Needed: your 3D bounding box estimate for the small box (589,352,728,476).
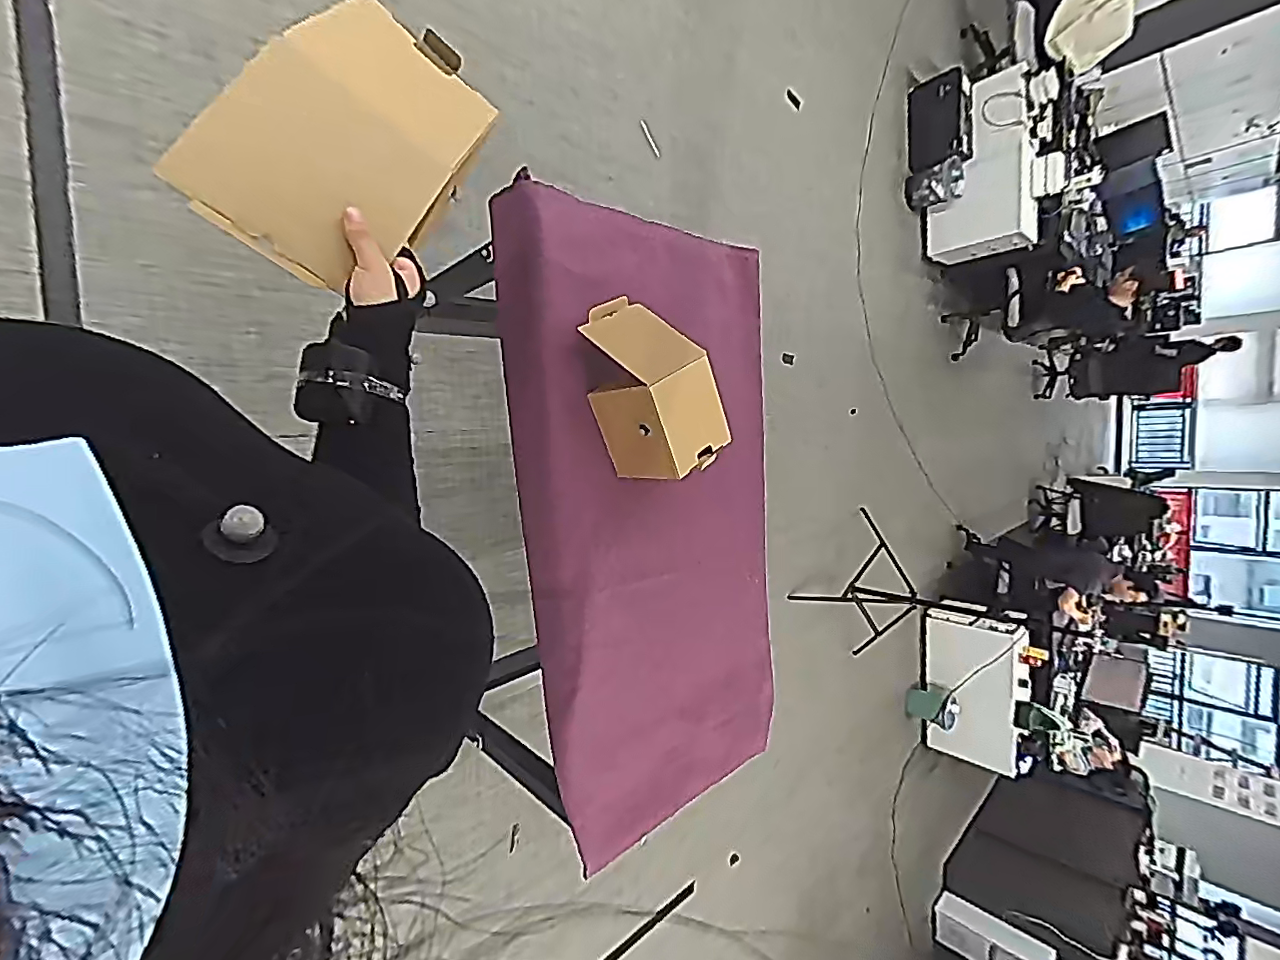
[{"bbox_3d":[0.031,-0.119,1.006,0.168,0.176,0.179,-35,115,-36],"label":"small box"}]
